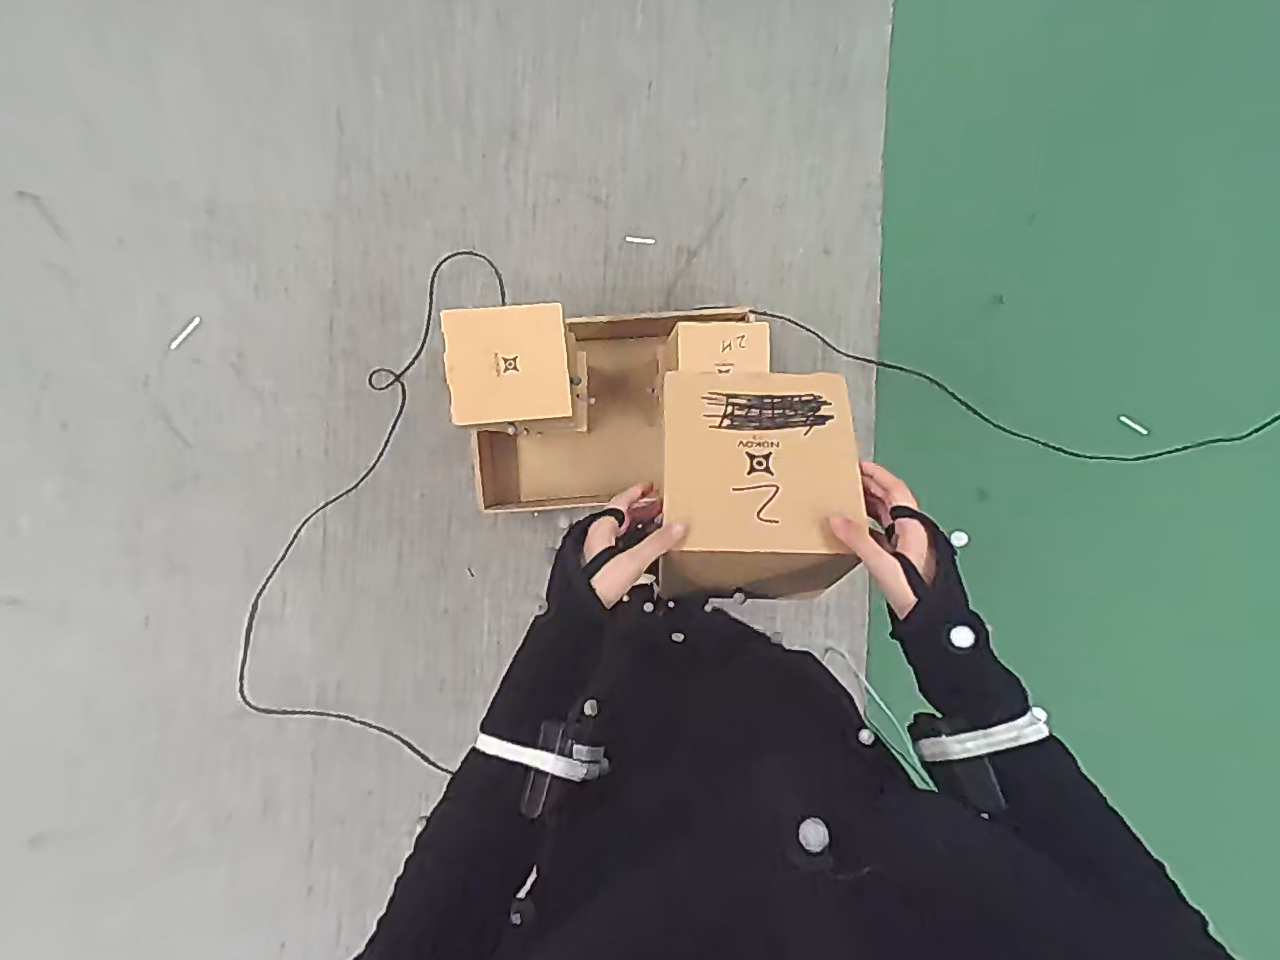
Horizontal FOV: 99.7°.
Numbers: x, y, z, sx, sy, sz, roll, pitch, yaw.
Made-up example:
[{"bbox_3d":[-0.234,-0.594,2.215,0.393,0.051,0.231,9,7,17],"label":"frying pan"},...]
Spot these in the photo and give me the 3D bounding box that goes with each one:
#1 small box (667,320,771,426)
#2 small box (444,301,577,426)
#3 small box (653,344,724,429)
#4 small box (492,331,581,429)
[{"bbox_3d":[0.145,-0.196,1.036,0.168,0.176,0.179,0,91,-5],"label":"small box"},{"bbox_3d":[-0.192,-0.175,0.854,0.179,0.176,0.168,-5,94,-3],"label":"small box"},{"bbox_3d":[0.119,-0.201,1.200,0.179,0.176,0.168,0,91,-3],"label":"small box"},{"bbox_3d":[-0.204,-0.181,1.015,0.179,0.176,0.168,0,93,-5],"label":"small box"}]
